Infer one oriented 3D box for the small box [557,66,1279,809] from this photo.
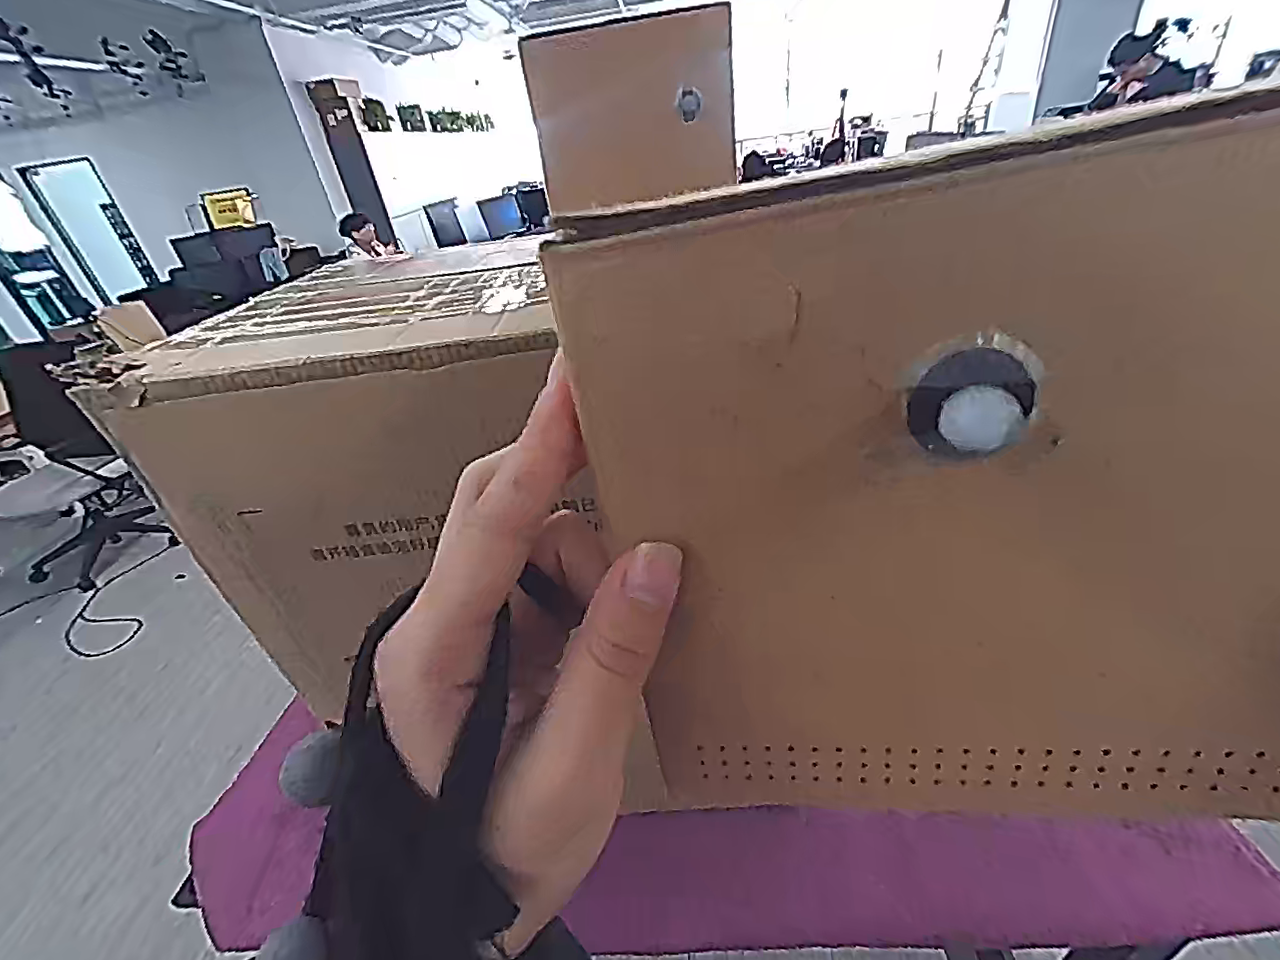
[{"bbox_3d":[0.093,-0.016,0.187,0.179,0.176,0.168,-5,27,12],"label":"small box"}]
